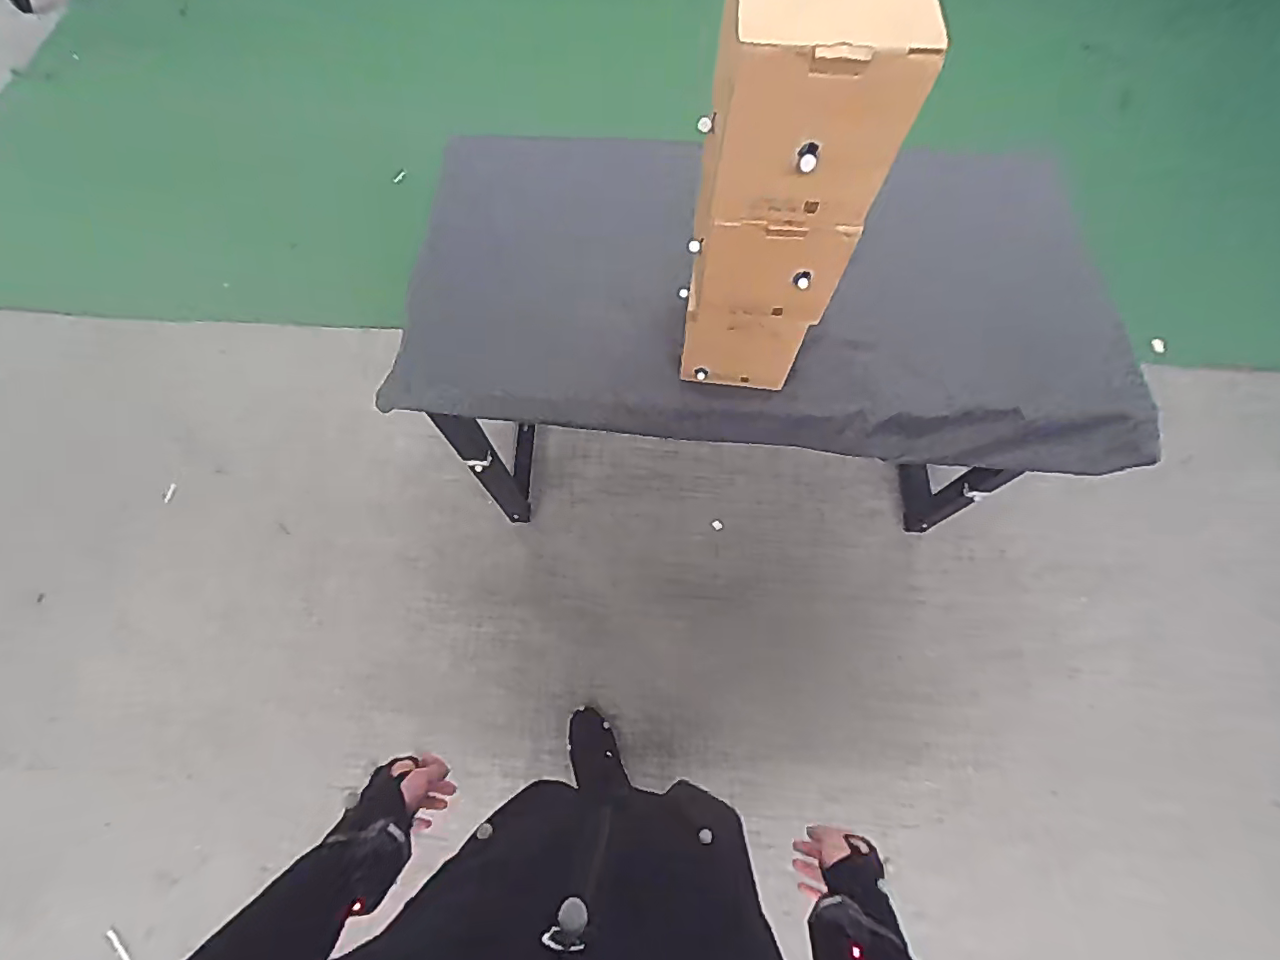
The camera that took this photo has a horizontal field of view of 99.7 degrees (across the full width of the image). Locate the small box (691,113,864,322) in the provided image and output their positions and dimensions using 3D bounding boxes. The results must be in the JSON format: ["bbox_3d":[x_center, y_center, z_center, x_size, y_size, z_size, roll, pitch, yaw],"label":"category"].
[{"bbox_3d":[0.155,-0.316,0.671,0.168,0.176,0.179,1,67,-1],"label":"small box"}]

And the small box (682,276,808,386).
[{"bbox_3d":[0.157,-0.263,0.825,0.168,0.176,0.179,7,67,3],"label":"small box"}]

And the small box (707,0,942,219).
[{"bbox_3d":[0.158,-0.380,0.521,0.168,0.176,0.179,3,70,0],"label":"small box"}]
